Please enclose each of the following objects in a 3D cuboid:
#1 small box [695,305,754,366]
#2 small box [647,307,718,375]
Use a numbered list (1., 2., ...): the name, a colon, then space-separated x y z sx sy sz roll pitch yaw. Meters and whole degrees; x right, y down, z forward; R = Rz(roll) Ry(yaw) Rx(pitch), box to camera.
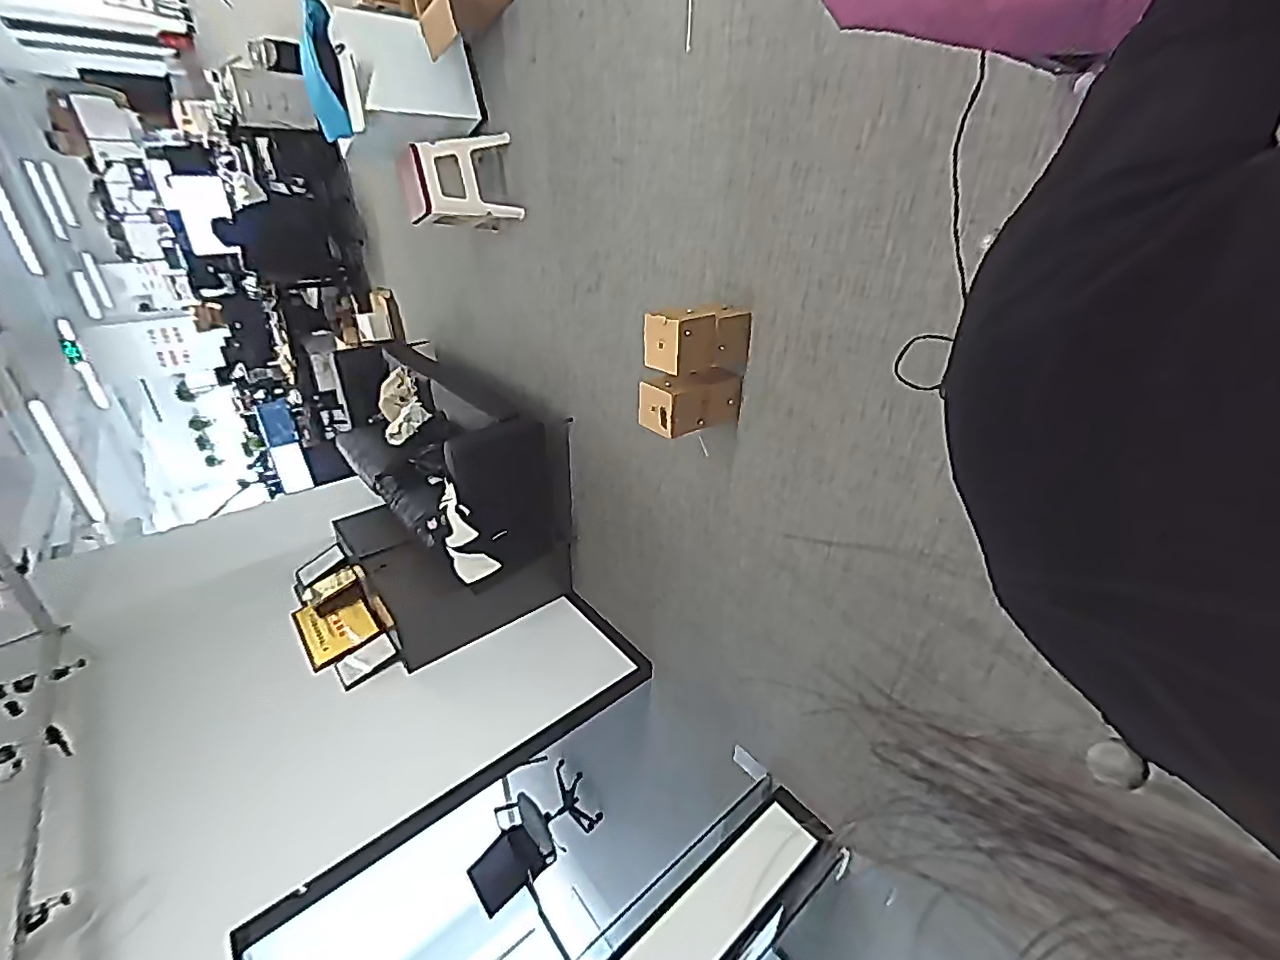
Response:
1. small box: 0.269 -0.507 1.879 0.179 0.176 0.168 30 131 43
2. small box: 0.141 -0.464 1.788 0.168 0.176 0.179 28 129 43
